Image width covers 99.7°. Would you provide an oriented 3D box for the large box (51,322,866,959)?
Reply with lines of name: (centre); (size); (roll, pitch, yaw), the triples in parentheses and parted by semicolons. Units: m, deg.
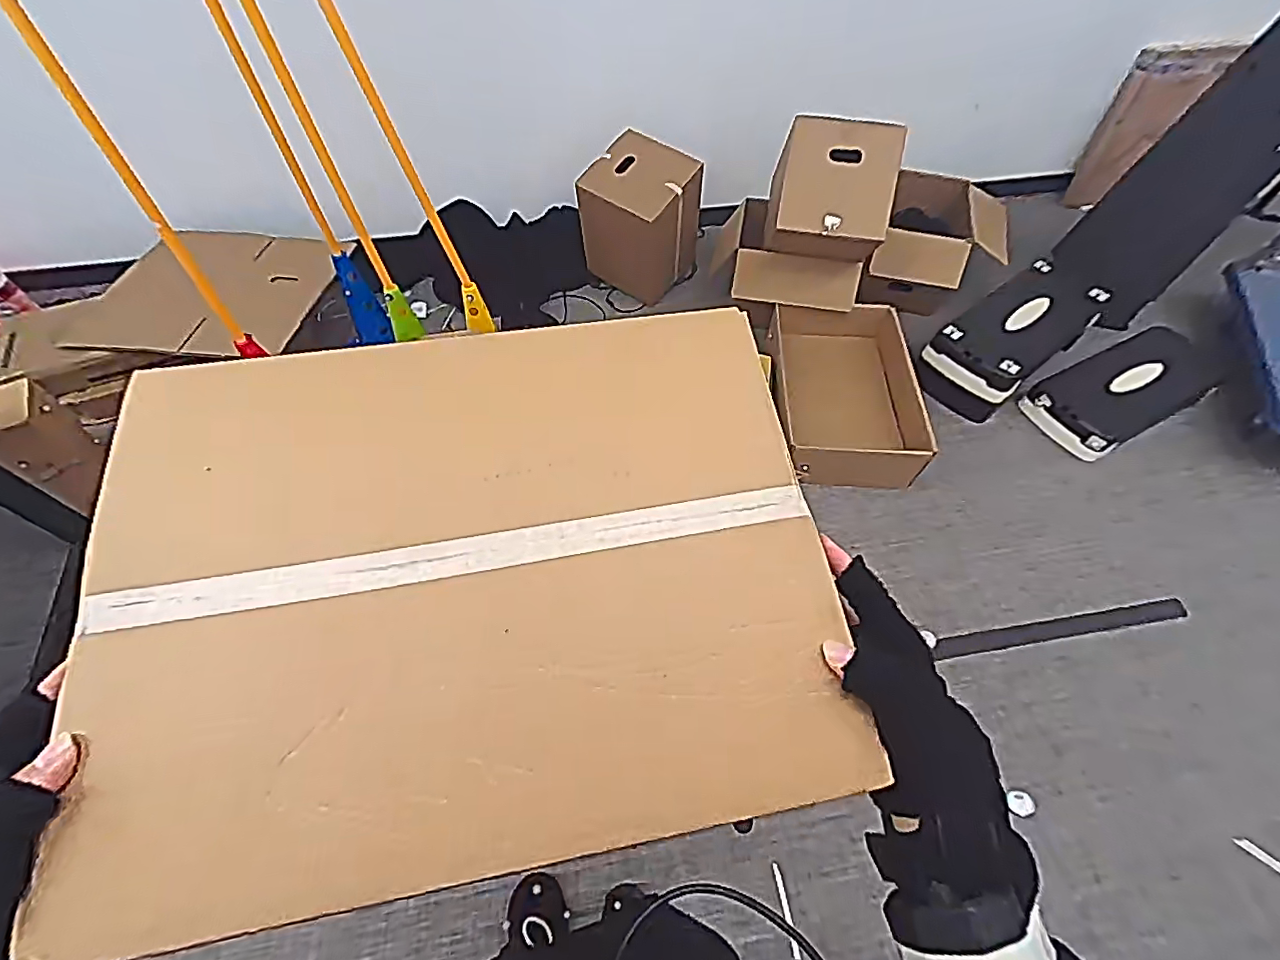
large box: (-0.105, 0.109, 0.456); (0.408, 0.320, 0.320); (-9, 67, -7)
